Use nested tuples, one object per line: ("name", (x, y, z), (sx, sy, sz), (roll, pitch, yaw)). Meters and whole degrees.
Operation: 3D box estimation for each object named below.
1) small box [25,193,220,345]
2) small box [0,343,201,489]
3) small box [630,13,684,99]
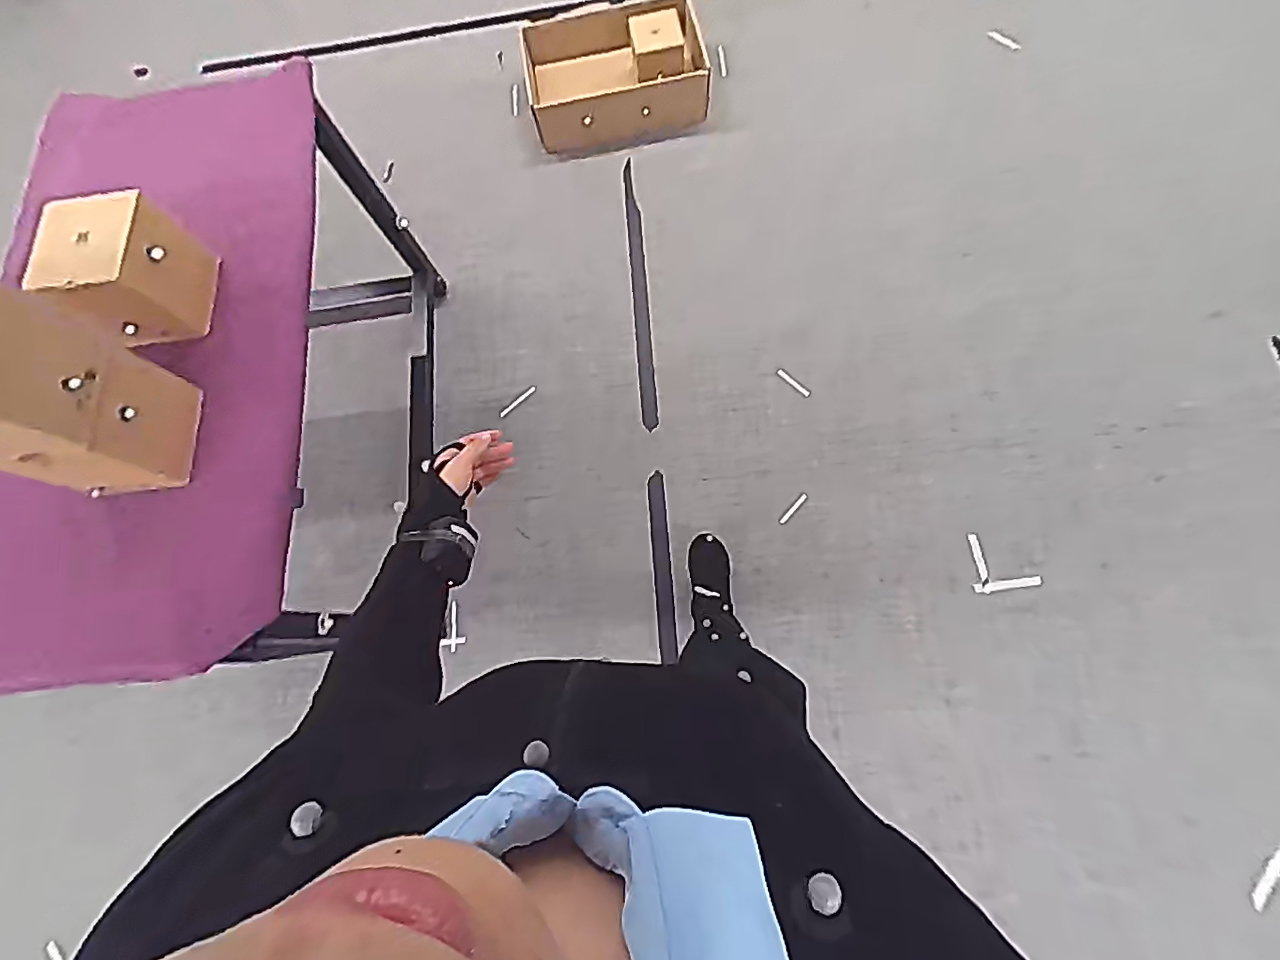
("small box", (-0.881, -0.359, 0.942), (0.168, 0.176, 0.179), (-6, 74, 3))
("small box", (-0.847, -0.090, 0.856), (0.168, 0.176, 0.179), (-6, 72, 3))
("small box", (0.062, -1.480, 1.904), (0.168, 0.176, 0.179), (-9, 72, 2))
